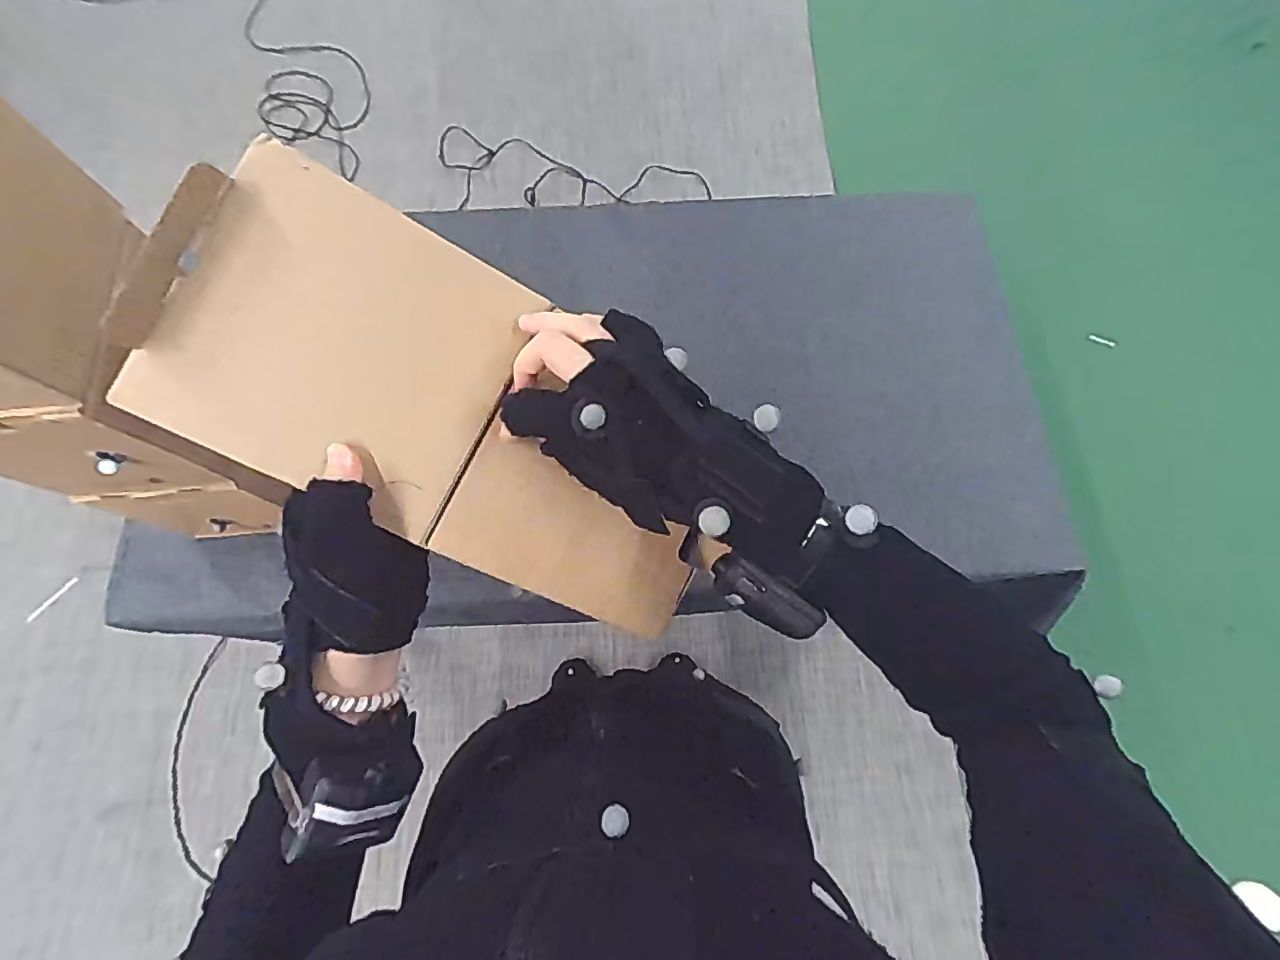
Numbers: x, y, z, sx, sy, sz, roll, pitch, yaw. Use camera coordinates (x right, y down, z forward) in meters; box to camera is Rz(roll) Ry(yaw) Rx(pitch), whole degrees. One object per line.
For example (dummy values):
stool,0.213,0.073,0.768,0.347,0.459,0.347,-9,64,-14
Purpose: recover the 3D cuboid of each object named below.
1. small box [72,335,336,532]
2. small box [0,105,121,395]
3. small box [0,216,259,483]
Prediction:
small box,-0.485,-0.047,0.635,0.168,0.176,0.179,-5,72,-2
small box,-0.479,-0.158,0.328,0.168,0.176,0.179,-5,72,-4
small box,-0.481,-0.100,0.482,0.168,0.176,0.179,-3,72,-3
